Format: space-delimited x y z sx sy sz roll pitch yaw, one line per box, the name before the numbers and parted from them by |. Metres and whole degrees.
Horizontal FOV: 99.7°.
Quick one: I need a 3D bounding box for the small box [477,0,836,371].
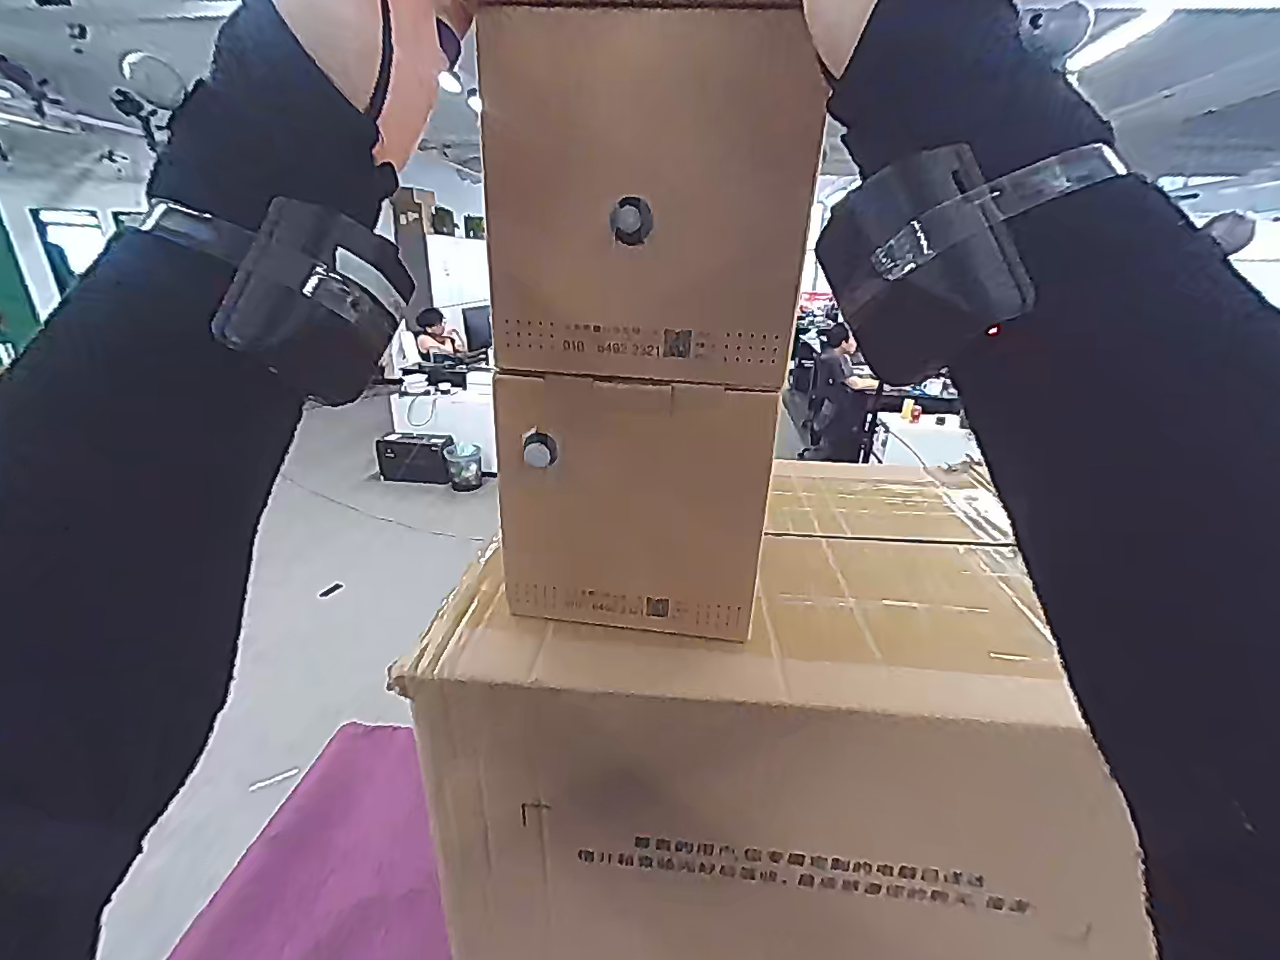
small box | 0.013 -0.169 0.345 0.168 0.176 0.179 5 22 5
